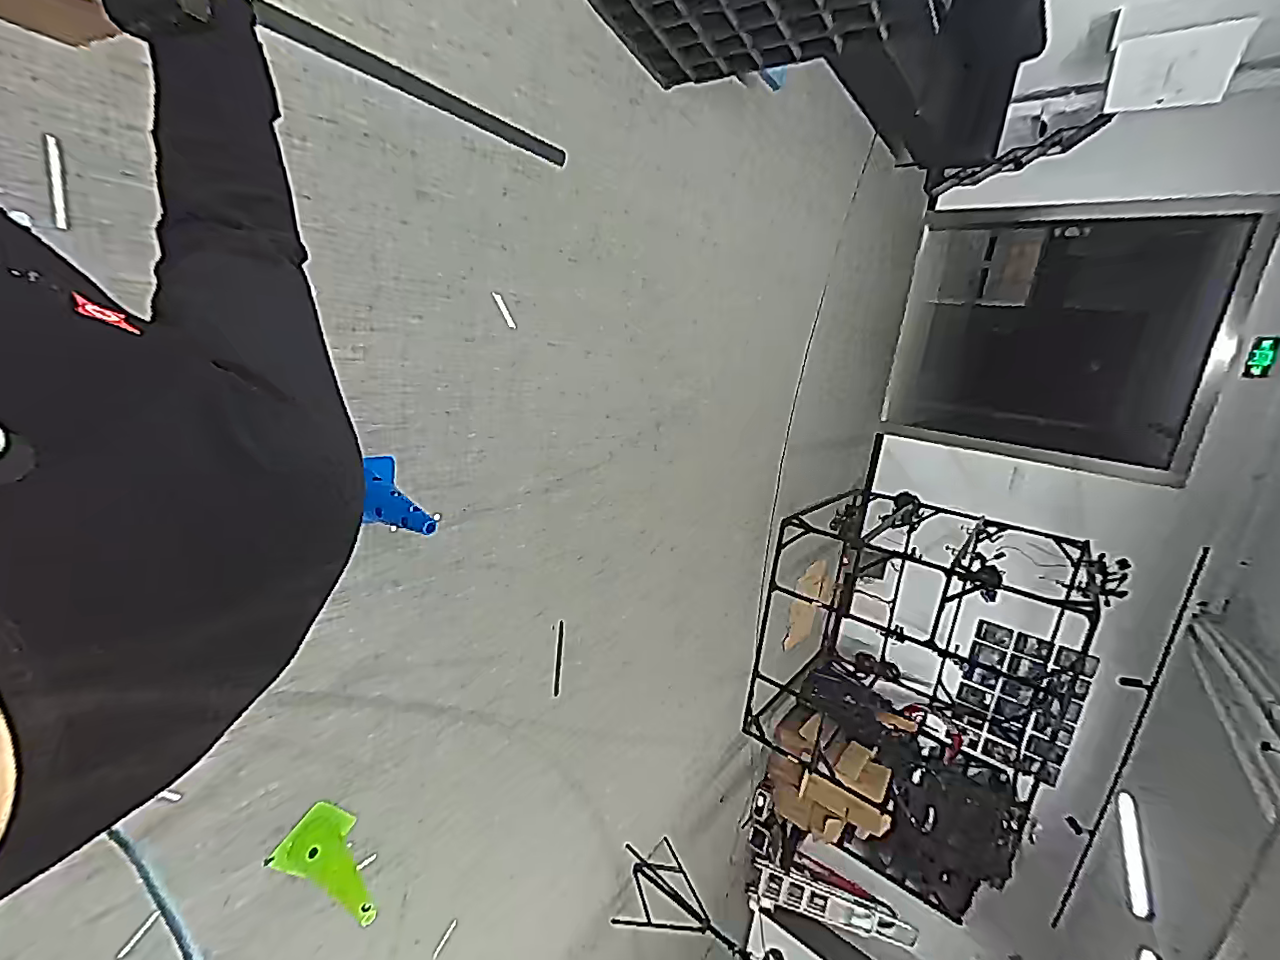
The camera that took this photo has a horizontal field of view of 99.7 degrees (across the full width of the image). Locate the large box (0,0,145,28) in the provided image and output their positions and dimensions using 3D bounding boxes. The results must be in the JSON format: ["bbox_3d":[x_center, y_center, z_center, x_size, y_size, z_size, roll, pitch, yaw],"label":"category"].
[{"bbox_3d":[-0.534,-0.503,0.251,0.408,0.320,0.320,-9,121,-52],"label":"large box"}]

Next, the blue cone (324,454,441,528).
[{"bbox_3d":[-0.671,0.062,1.453,0.192,0.380,0.193,-7,109,-54],"label":"blue cone"}]

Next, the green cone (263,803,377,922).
[{"bbox_3d":[-0.890,1.164,1.587,0.202,0.368,0.200,-52,141,-30],"label":"green cone"}]
